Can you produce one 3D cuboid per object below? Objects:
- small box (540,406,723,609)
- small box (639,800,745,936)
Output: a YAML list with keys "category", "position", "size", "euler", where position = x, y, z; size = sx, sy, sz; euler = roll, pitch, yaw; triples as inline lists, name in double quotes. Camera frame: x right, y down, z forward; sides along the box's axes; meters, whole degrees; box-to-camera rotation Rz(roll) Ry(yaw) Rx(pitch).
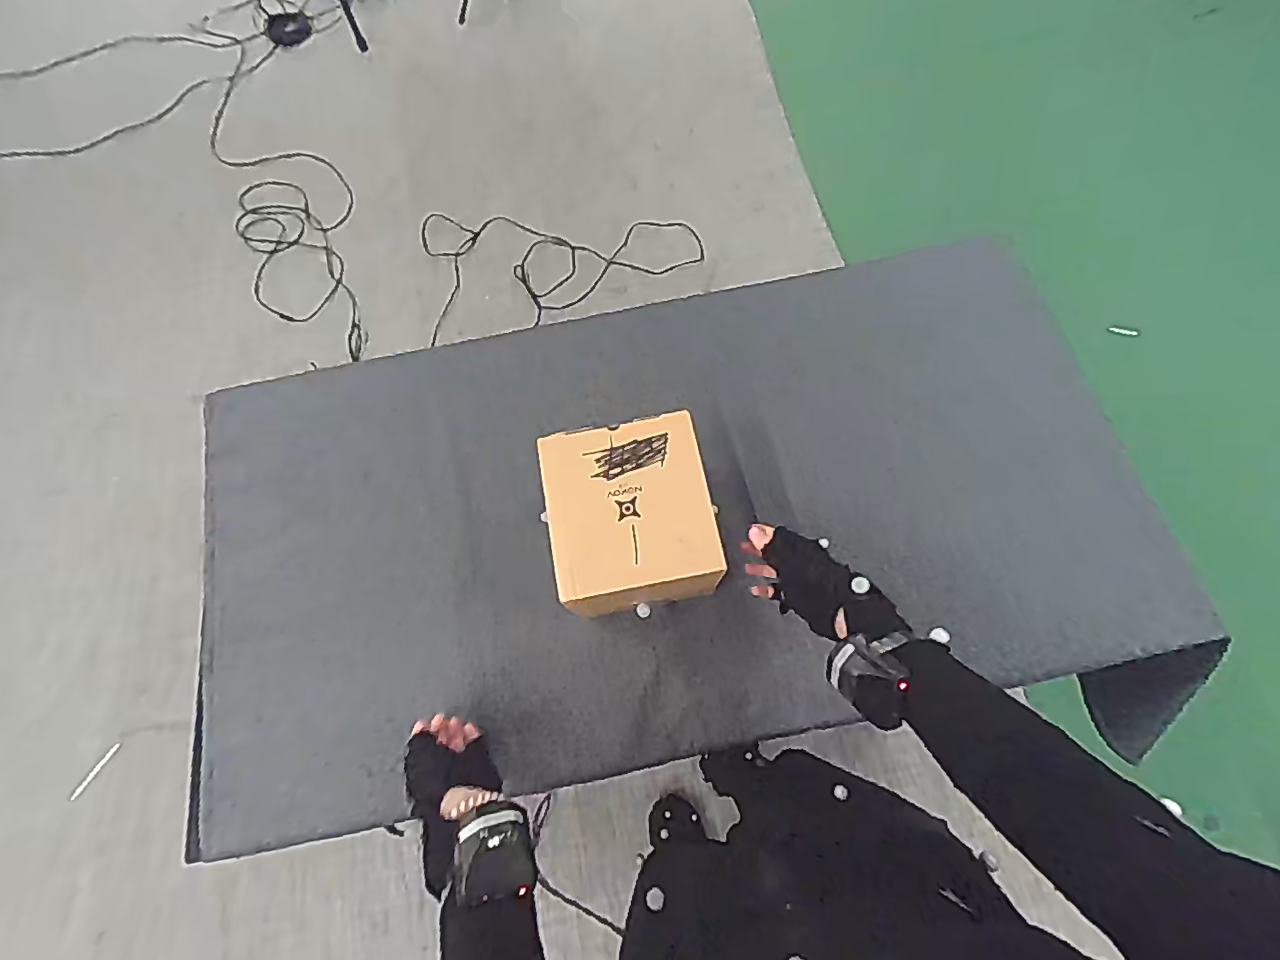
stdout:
- category: "small box"
  position: [-0.010, 0.040, 0.620]
  size: [0.168, 0.176, 0.179]
  euler: [-11, 71, -1]
- category: "small box"
  position: [0.109, 0.798, 1.129]
  size: [0.179, 0.176, 0.168]
  euler: [1, 74, 27]
